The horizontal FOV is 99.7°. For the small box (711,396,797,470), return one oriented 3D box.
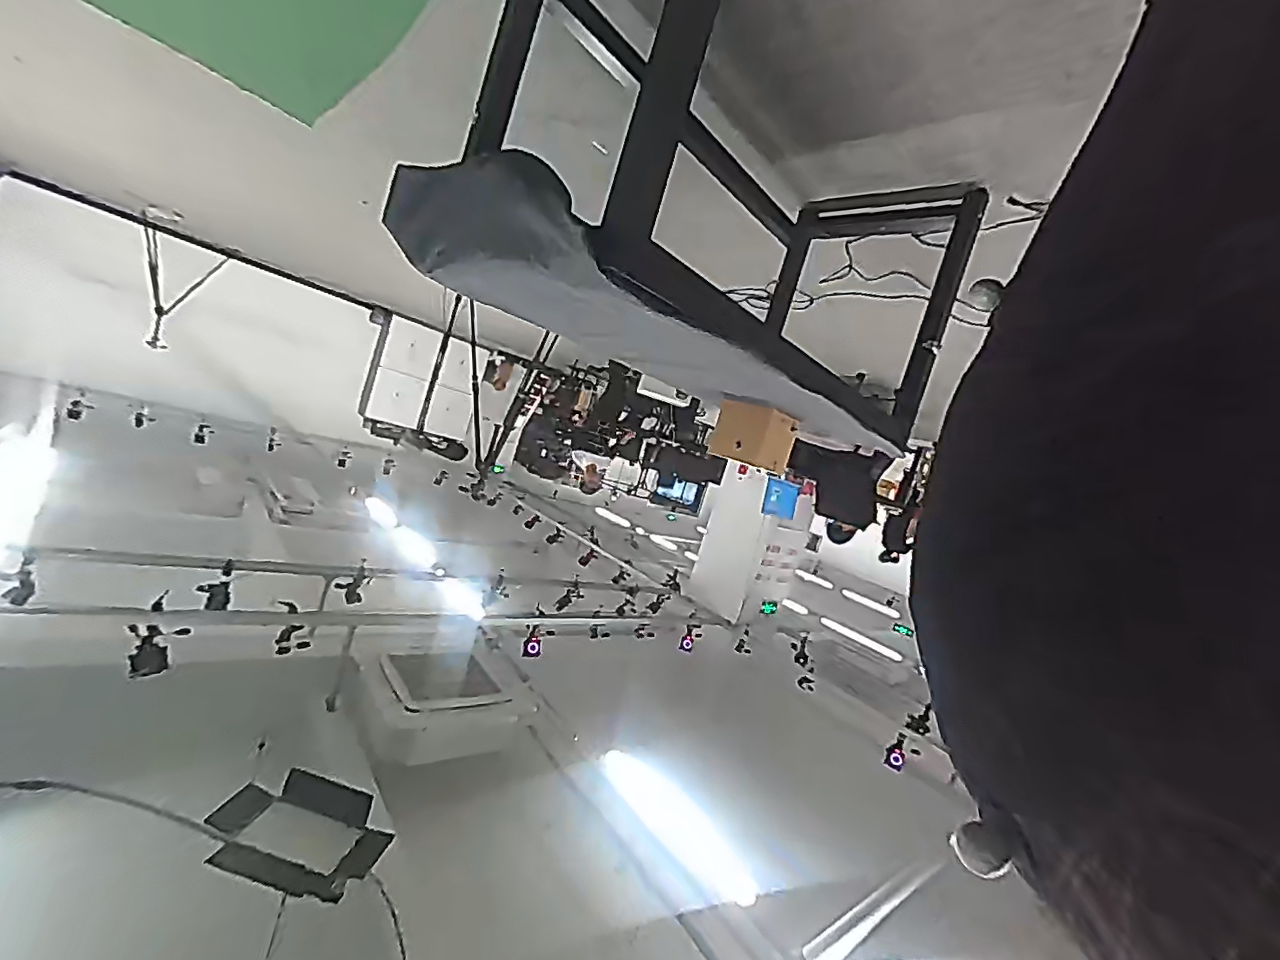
[{"bbox_3d":[0.342,-0.142,1.595,0.168,0.176,0.179,14,-174,-46],"label":"small box"}]
